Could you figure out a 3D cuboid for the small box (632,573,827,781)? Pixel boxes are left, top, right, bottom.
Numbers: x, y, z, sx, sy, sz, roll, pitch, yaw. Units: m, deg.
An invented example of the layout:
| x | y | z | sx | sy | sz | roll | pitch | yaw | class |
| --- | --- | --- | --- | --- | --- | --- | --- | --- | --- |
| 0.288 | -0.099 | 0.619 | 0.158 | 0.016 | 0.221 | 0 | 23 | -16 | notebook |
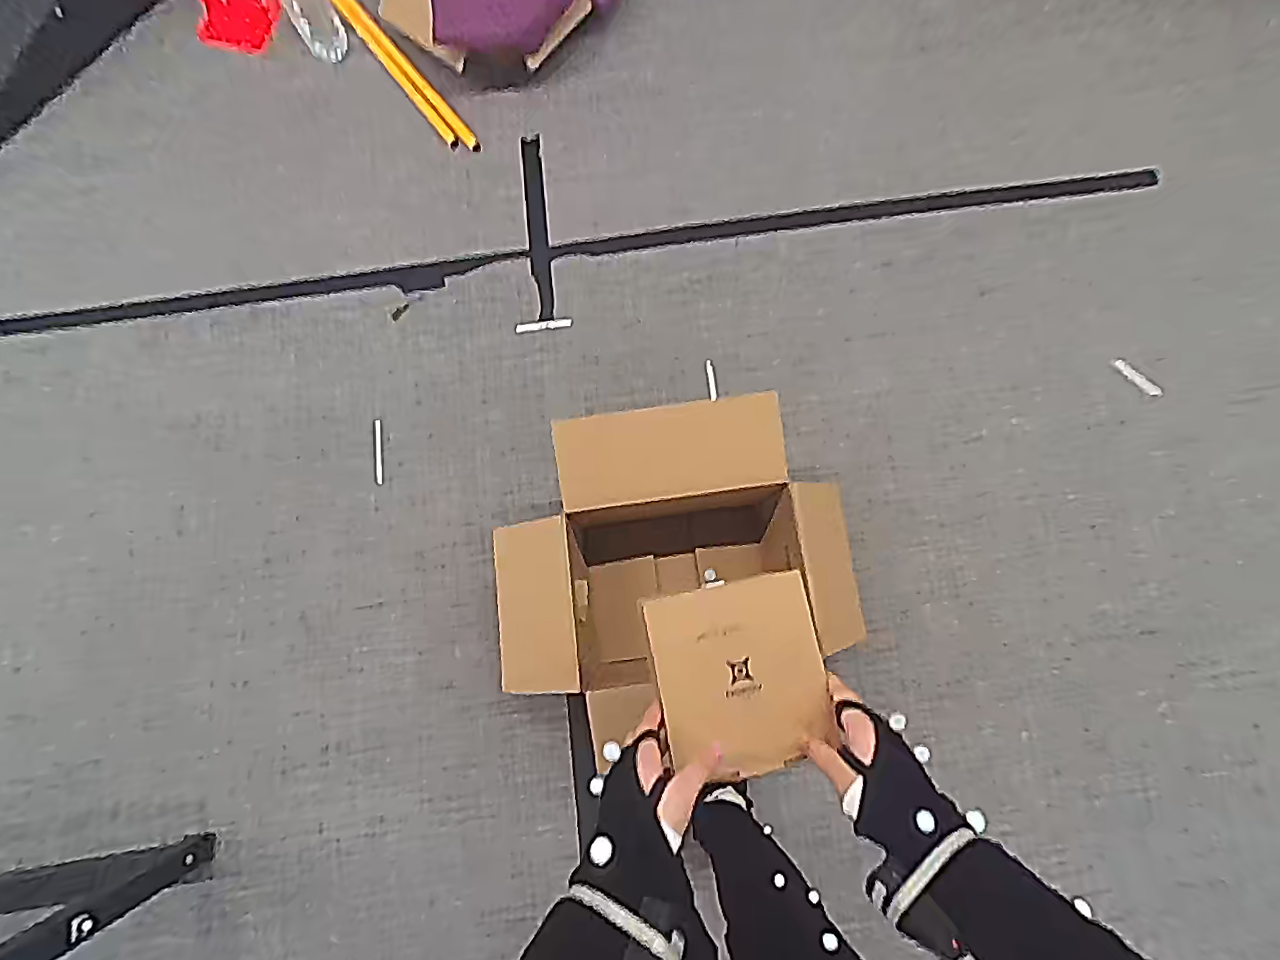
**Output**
| x | y | z | sx | sy | sz | roll | pitch | yaw | class |
| --- | --- | --- | --- | --- | --- | --- | --- | --- | --- |
| 0.087 | 0.208 | 0.619 | 0.168 | 0.176 | 0.179 | -11 | 79 | -5 | small box |
